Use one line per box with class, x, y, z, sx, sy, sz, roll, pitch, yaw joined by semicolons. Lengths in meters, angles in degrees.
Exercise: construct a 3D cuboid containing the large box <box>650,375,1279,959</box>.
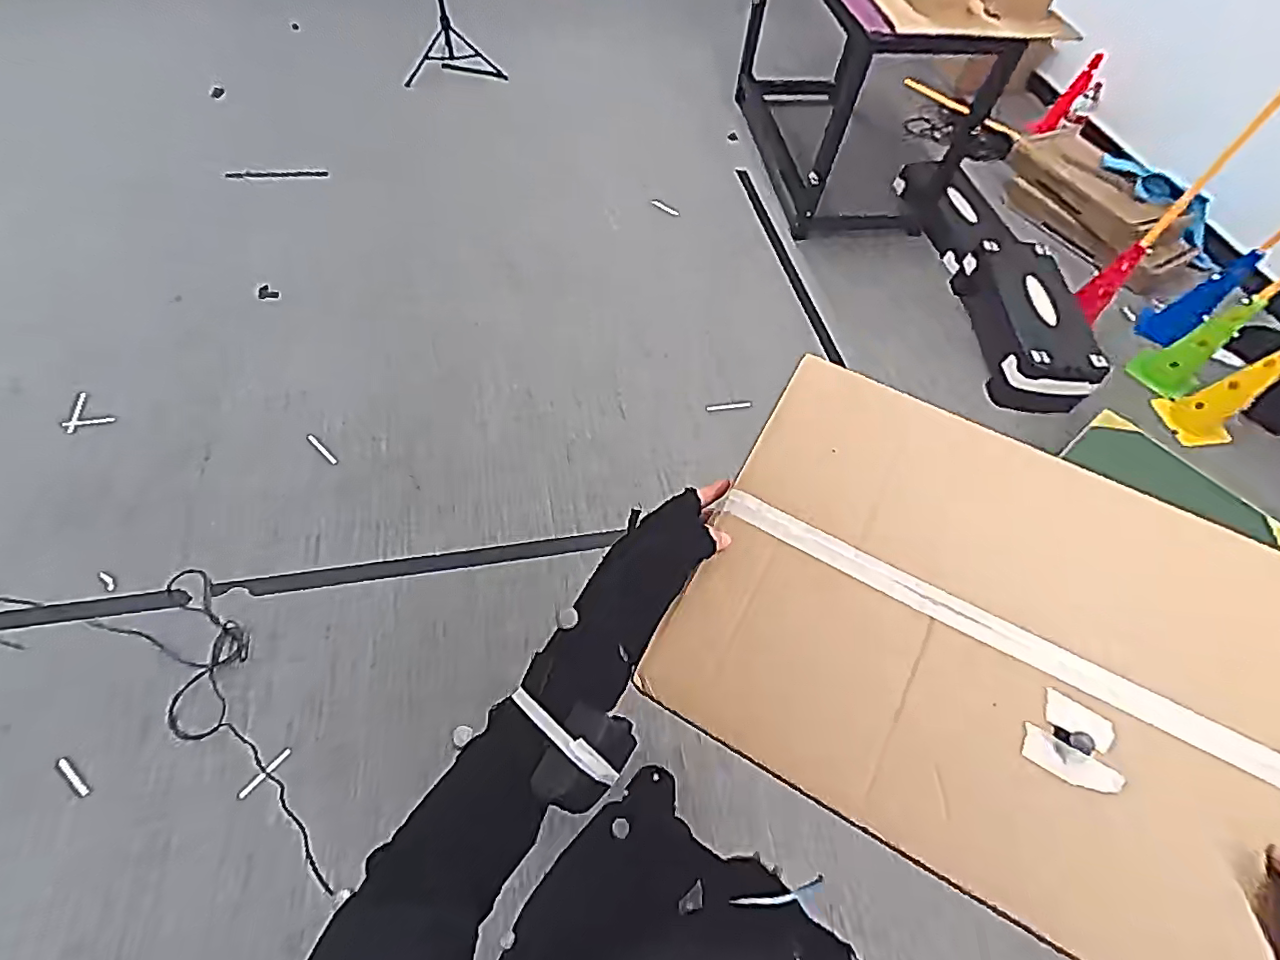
large box;0.255;0.167;0.534;0.408;0.320;0.320;27;73;13
